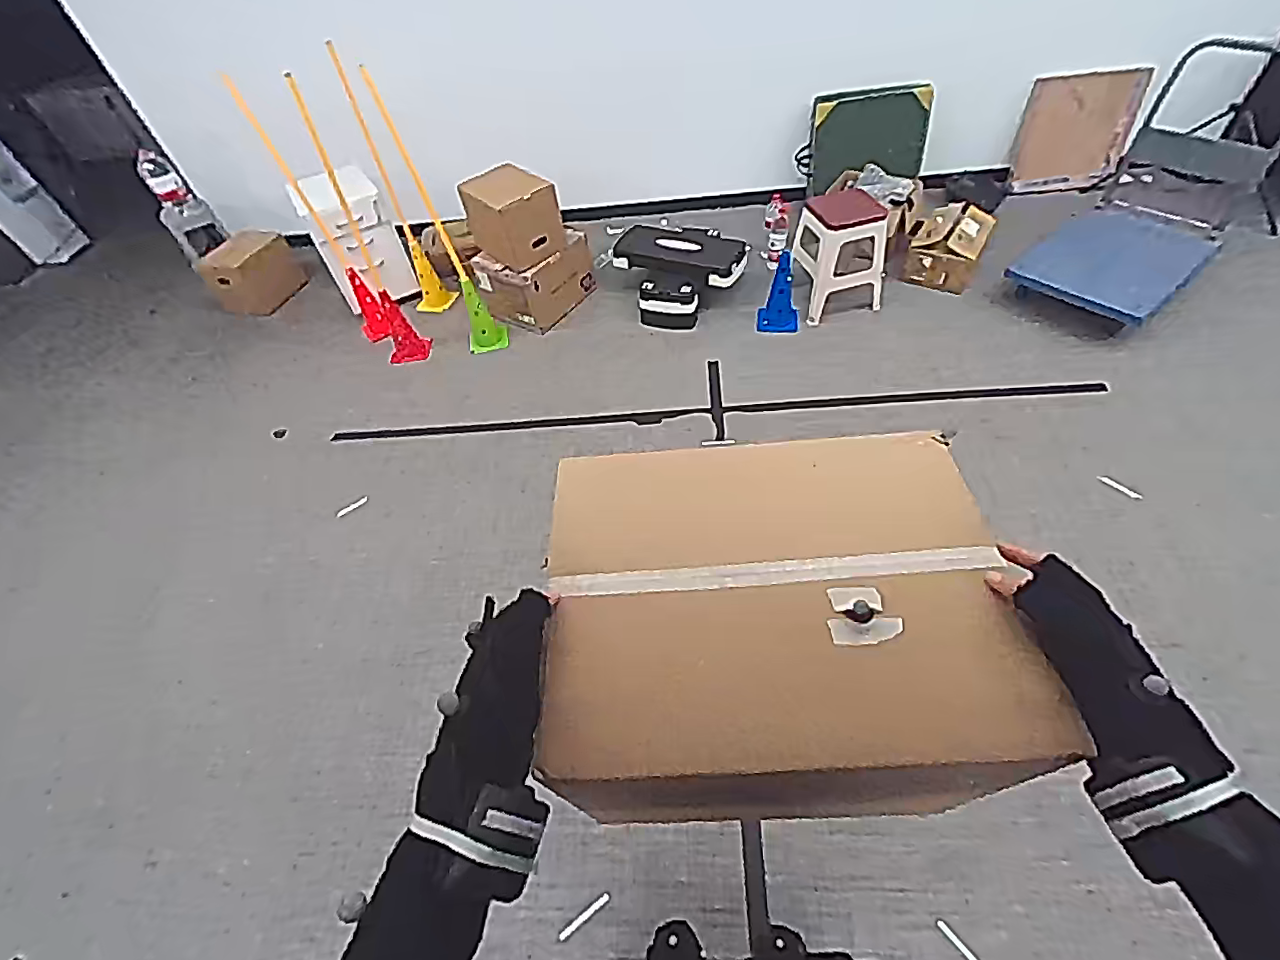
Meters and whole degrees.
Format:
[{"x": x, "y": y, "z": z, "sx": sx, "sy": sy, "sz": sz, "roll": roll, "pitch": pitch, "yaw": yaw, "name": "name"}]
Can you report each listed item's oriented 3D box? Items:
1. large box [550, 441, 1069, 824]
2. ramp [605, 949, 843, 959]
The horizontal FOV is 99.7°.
[{"x": 0.131, "y": 0.185, "z": 0.618, "sx": 0.408, "sy": 0.320, "sz": 0.320, "roll": -4, "pitch": 52, "yaw": 3, "name": "large box"}, {"x": 0.177, "y": 1.404, "z": 0.870, "sx": 0.509, "sy": 0.206, "sz": 0.991, "roll": -4, "pitch": 51, "yaw": 3, "name": "ramp"}]
